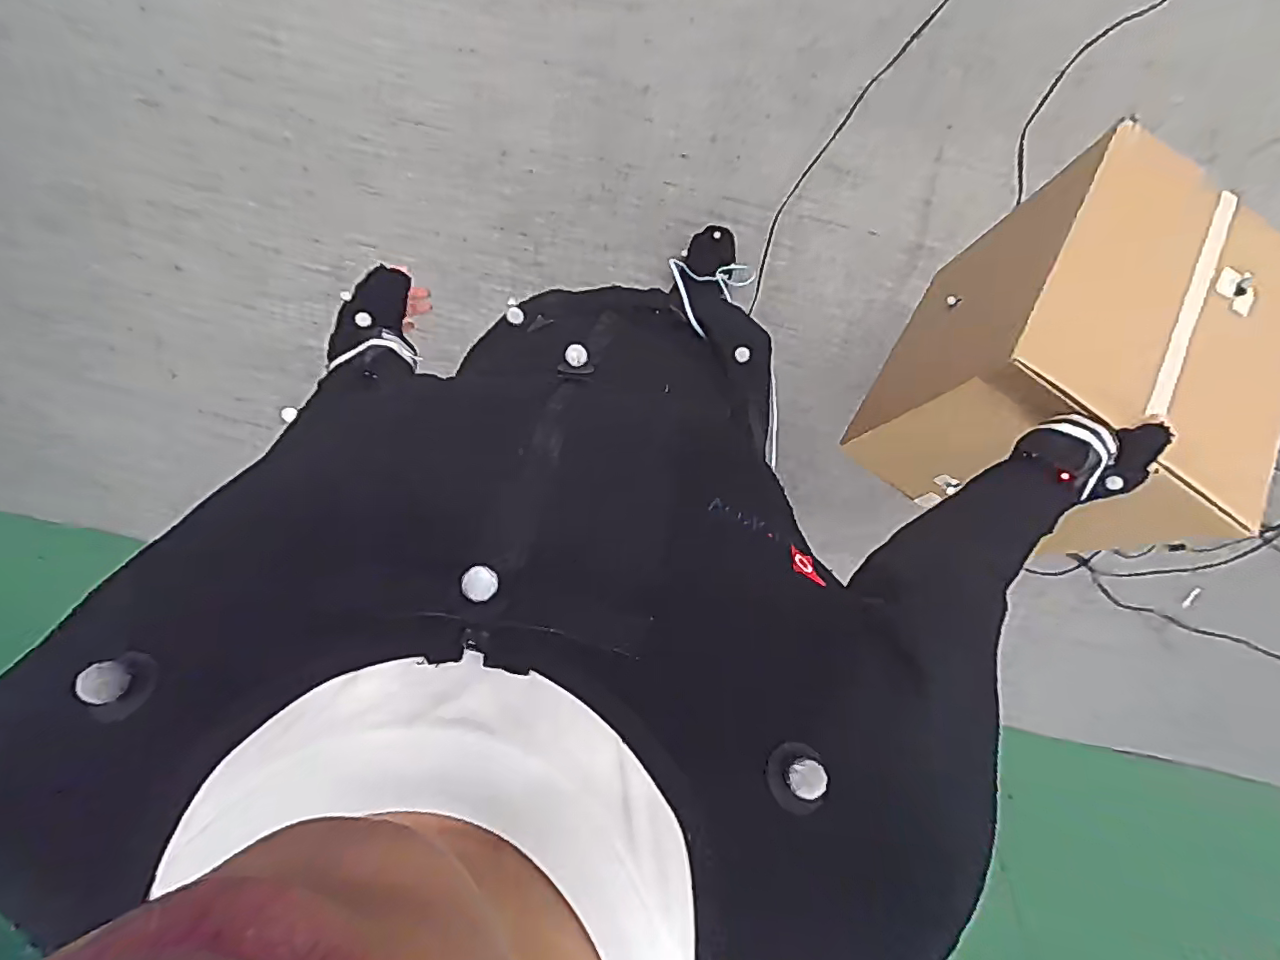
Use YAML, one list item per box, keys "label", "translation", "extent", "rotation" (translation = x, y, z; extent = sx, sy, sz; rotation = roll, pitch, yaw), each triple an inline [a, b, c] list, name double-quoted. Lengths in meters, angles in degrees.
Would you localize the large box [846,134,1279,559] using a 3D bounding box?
- label: "large box"
  translation: [0.564, -0.149, 0.749]
  extent: [0.320, 0.320, 0.408]
  rotation: [36, 72, -3]
